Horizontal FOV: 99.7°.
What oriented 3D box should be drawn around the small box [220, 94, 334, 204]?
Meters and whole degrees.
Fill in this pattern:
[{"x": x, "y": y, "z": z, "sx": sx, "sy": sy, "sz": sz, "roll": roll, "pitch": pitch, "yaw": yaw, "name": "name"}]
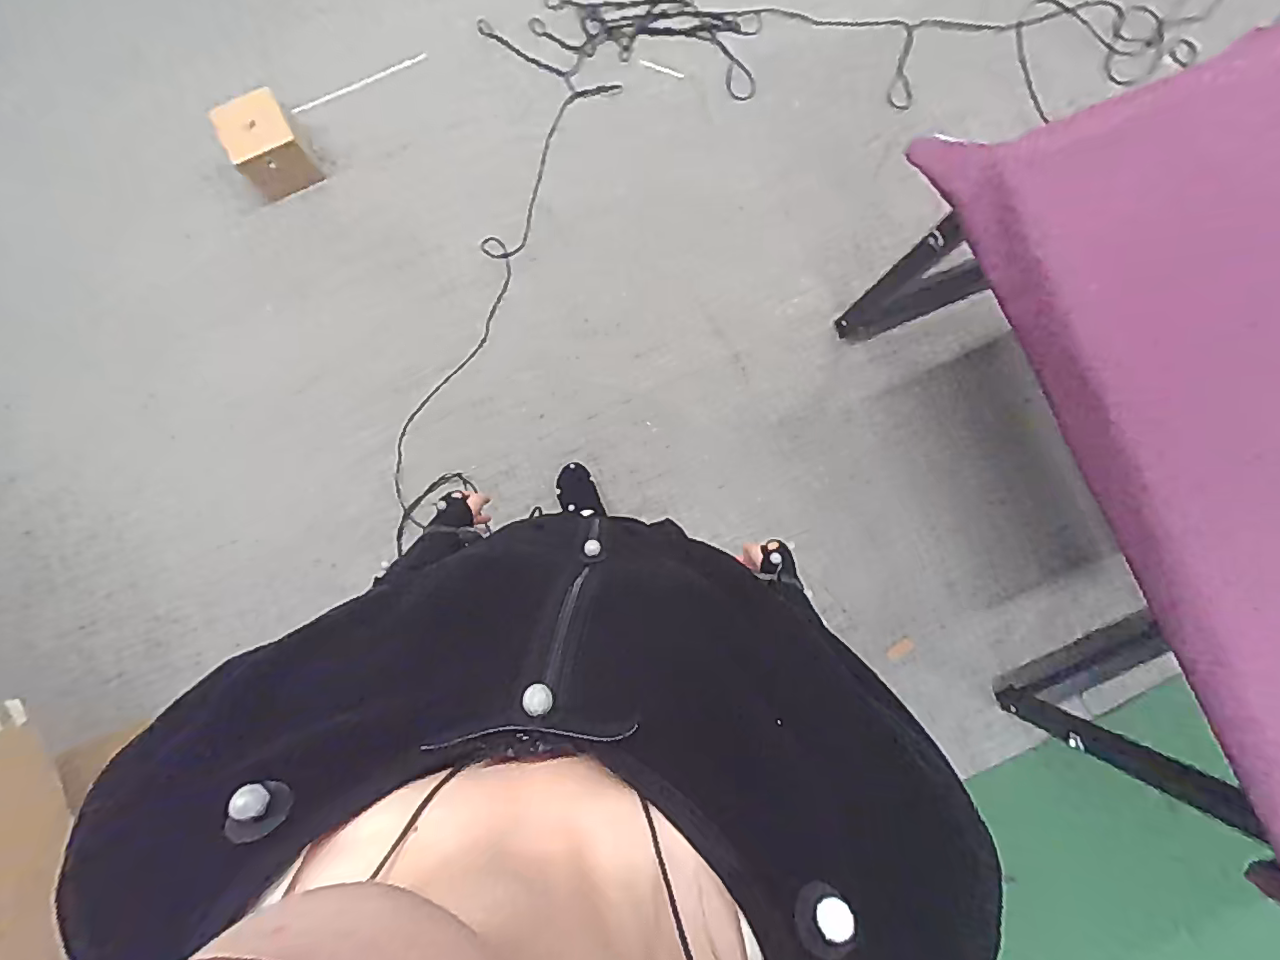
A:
[{"x": -1.000, "y": -0.908, "z": 1.503, "sx": 0.179, "sy": 0.176, "sz": 0.168, "roll": -25, "pitch": 87, "yaw": -2, "name": "small box"}]
